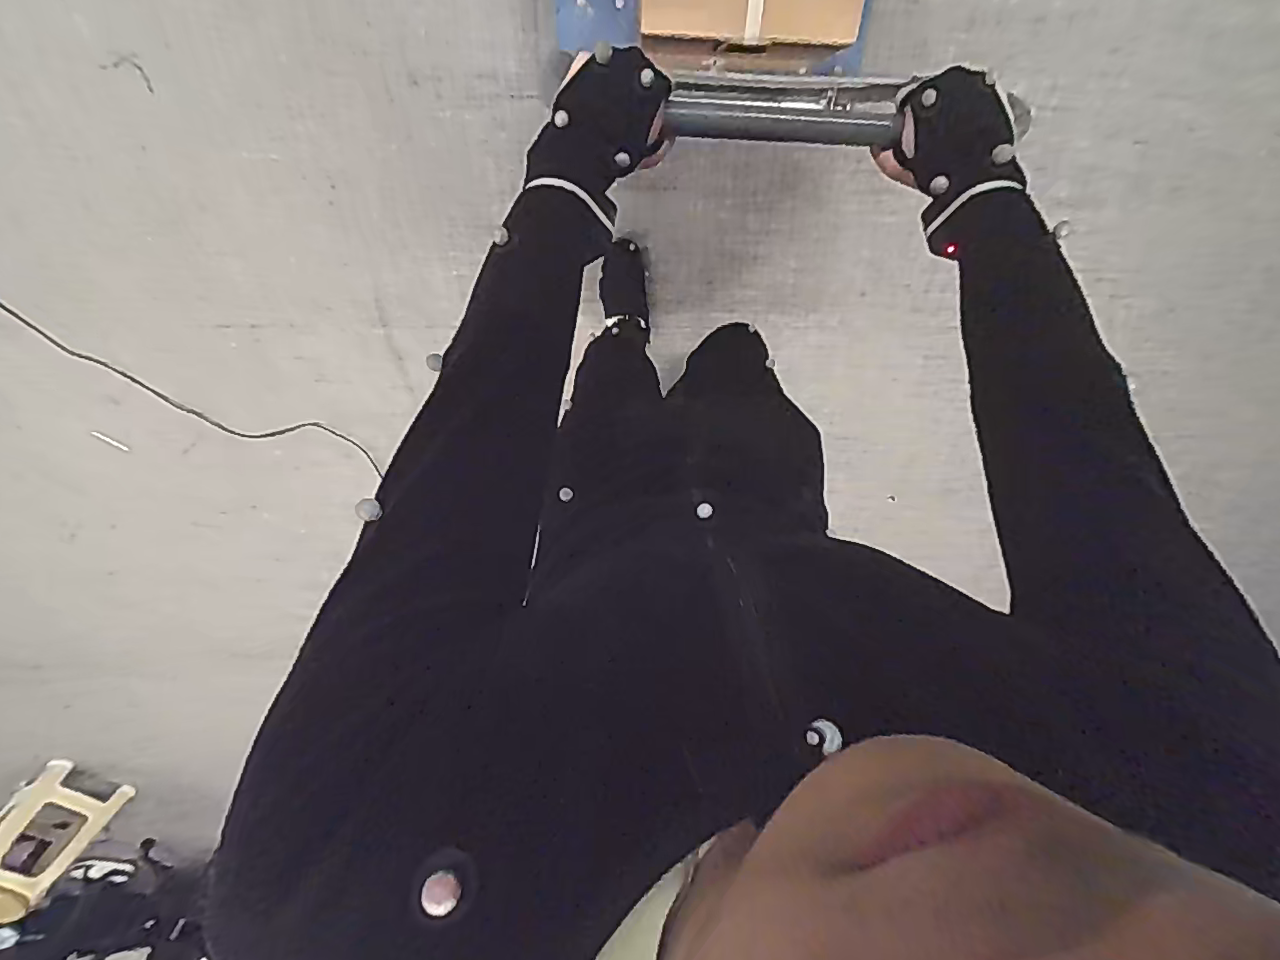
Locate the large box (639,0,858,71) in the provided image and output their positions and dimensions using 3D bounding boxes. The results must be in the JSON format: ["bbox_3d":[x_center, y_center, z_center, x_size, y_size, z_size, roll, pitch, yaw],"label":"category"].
[{"bbox_3d":[0.158,-0.884,0.814,0.320,0.320,0.408,1,120,-2],"label":"large box"}]
